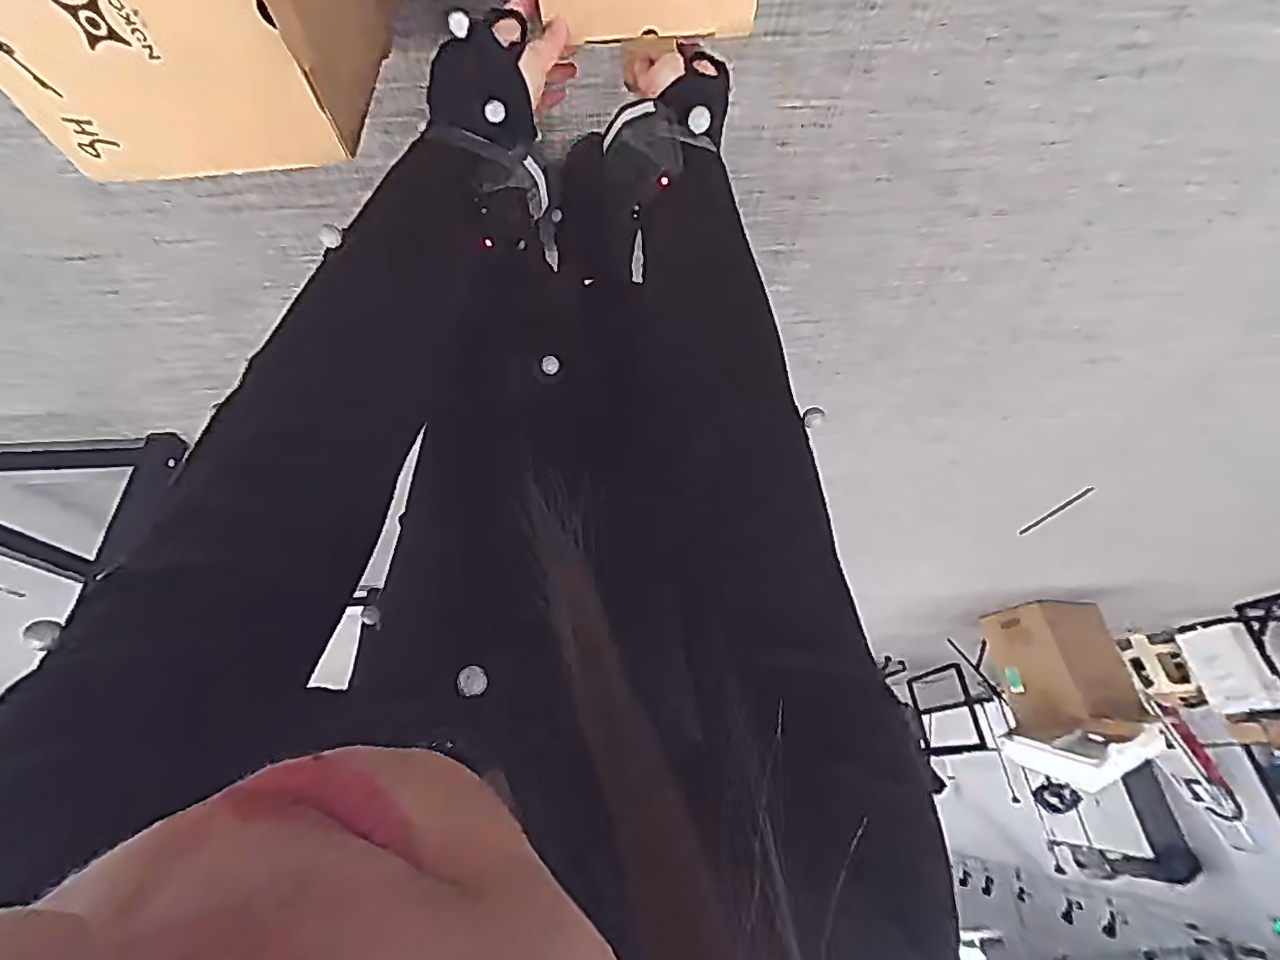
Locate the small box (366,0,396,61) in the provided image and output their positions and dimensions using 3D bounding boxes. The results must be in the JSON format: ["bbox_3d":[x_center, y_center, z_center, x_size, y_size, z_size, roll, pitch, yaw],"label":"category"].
[{"bbox_3d":[-0.287,-0.453,0.398,0.168,0.176,0.179,-2,151,-5],"label":"small box"}]

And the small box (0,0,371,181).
[{"bbox_3d":[-0.279,-0.310,0.318,0.179,0.176,0.168,-5,152,-1],"label":"small box"}]

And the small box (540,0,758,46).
[{"bbox_3d":[0.003,-0.458,0.406,0.168,0.176,0.179,-4,140,-2],"label":"small box"}]
